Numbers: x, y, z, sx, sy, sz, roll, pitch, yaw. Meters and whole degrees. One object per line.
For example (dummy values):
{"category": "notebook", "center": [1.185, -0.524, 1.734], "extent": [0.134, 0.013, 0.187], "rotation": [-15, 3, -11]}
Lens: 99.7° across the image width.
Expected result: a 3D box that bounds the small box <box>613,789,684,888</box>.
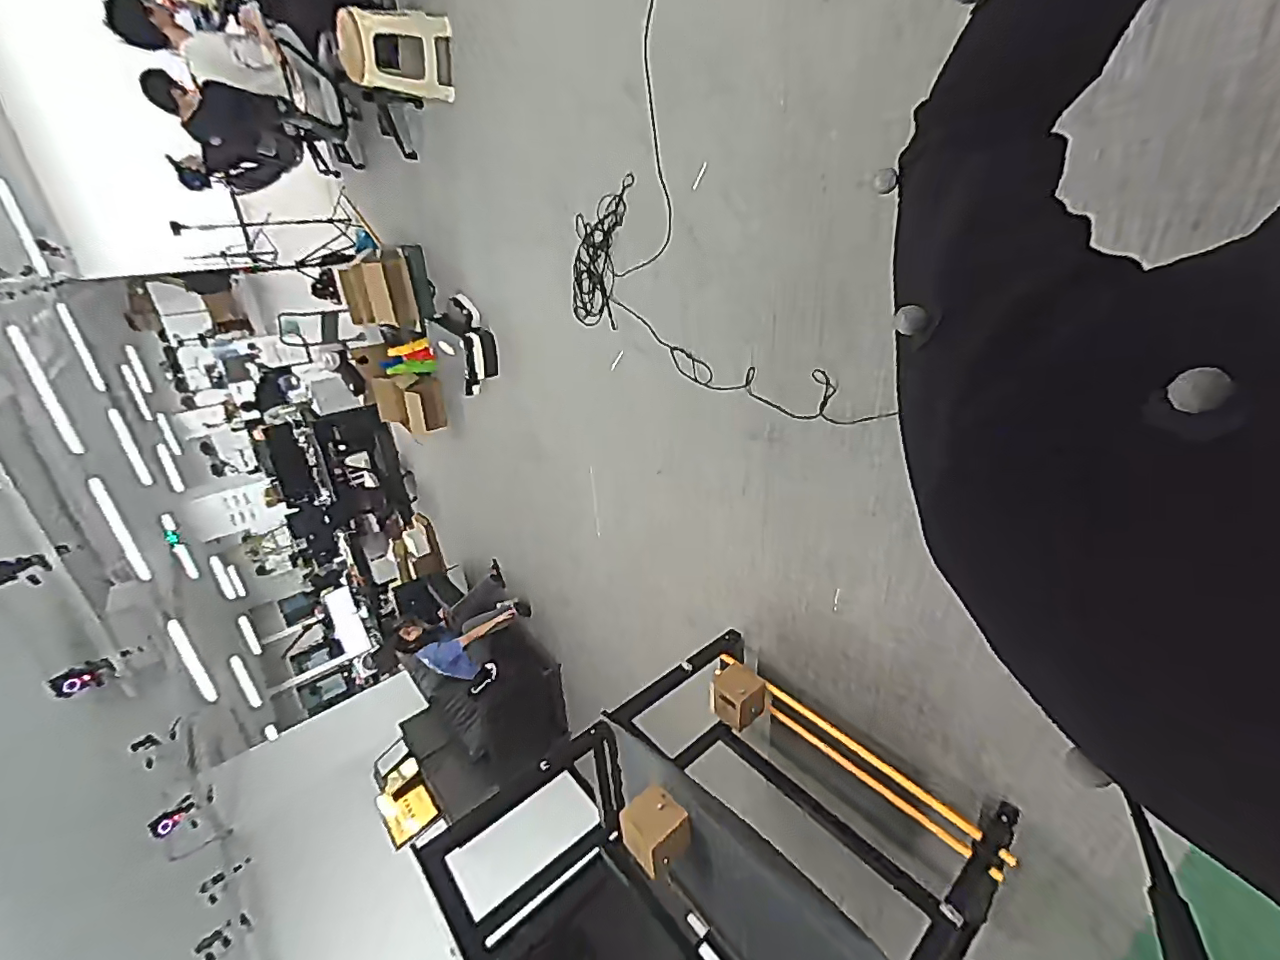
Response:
{"category": "small box", "center": [0.033, 1.179, 1.788], "extent": [0.168, 0.176, 0.179], "rotation": [23, 126, 45]}
